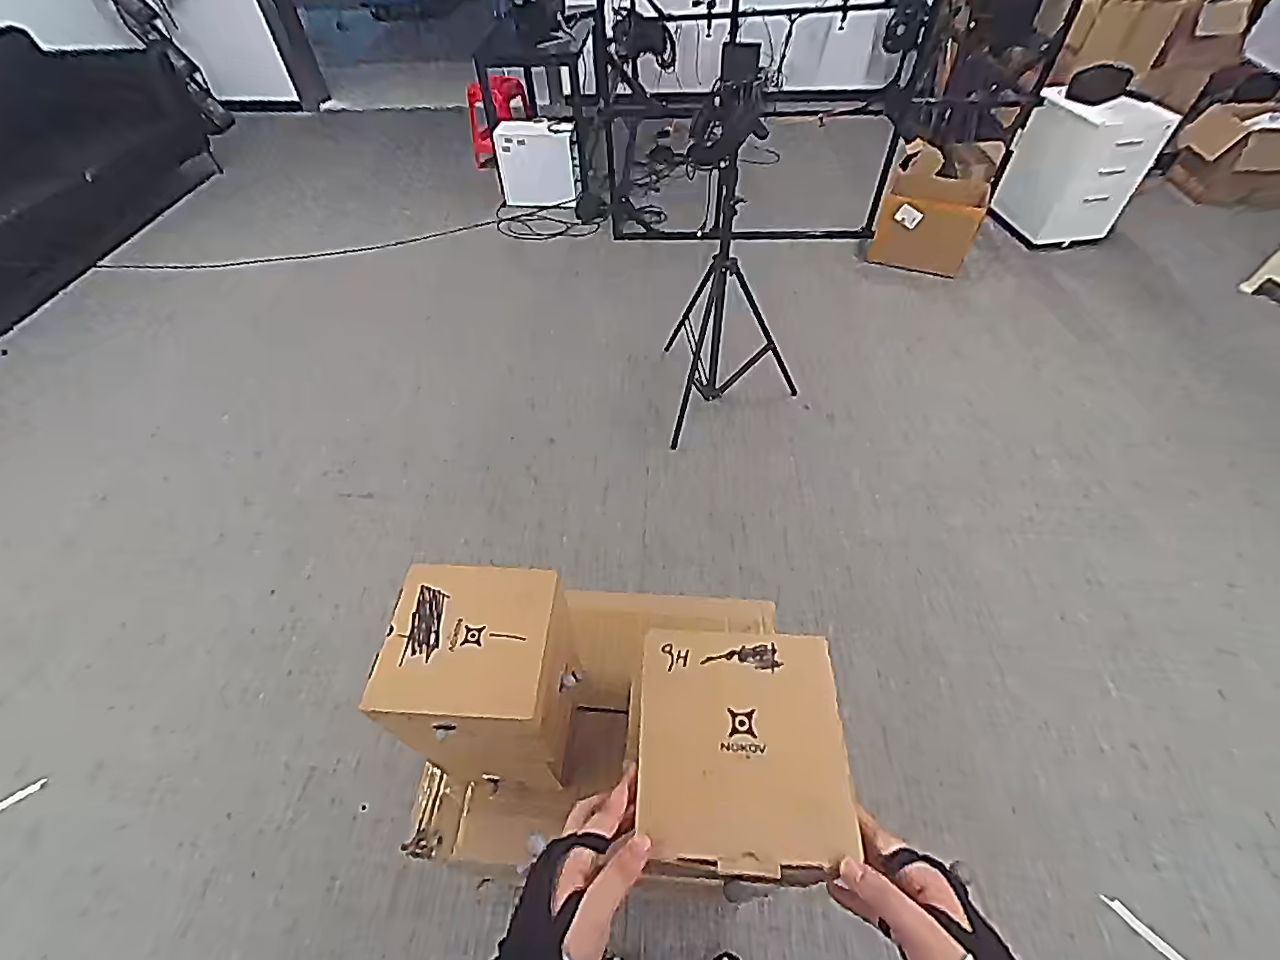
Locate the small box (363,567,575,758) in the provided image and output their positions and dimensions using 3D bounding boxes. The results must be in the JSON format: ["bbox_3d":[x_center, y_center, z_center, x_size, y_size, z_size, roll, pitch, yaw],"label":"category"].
[{"bbox_3d":[-0.182,0.219,0.640,0.179,0.176,0.168,2,51,3],"label":"small box"}]

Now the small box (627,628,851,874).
[{"bbox_3d":[0.080,0.256,0.506,0.168,0.176,0.179,2,52,3],"label":"small box"}]

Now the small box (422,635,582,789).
[{"bbox_3d":[-0.179,0.321,0.769,0.168,0.176,0.179,1,52,4],"label":"small box"}]
